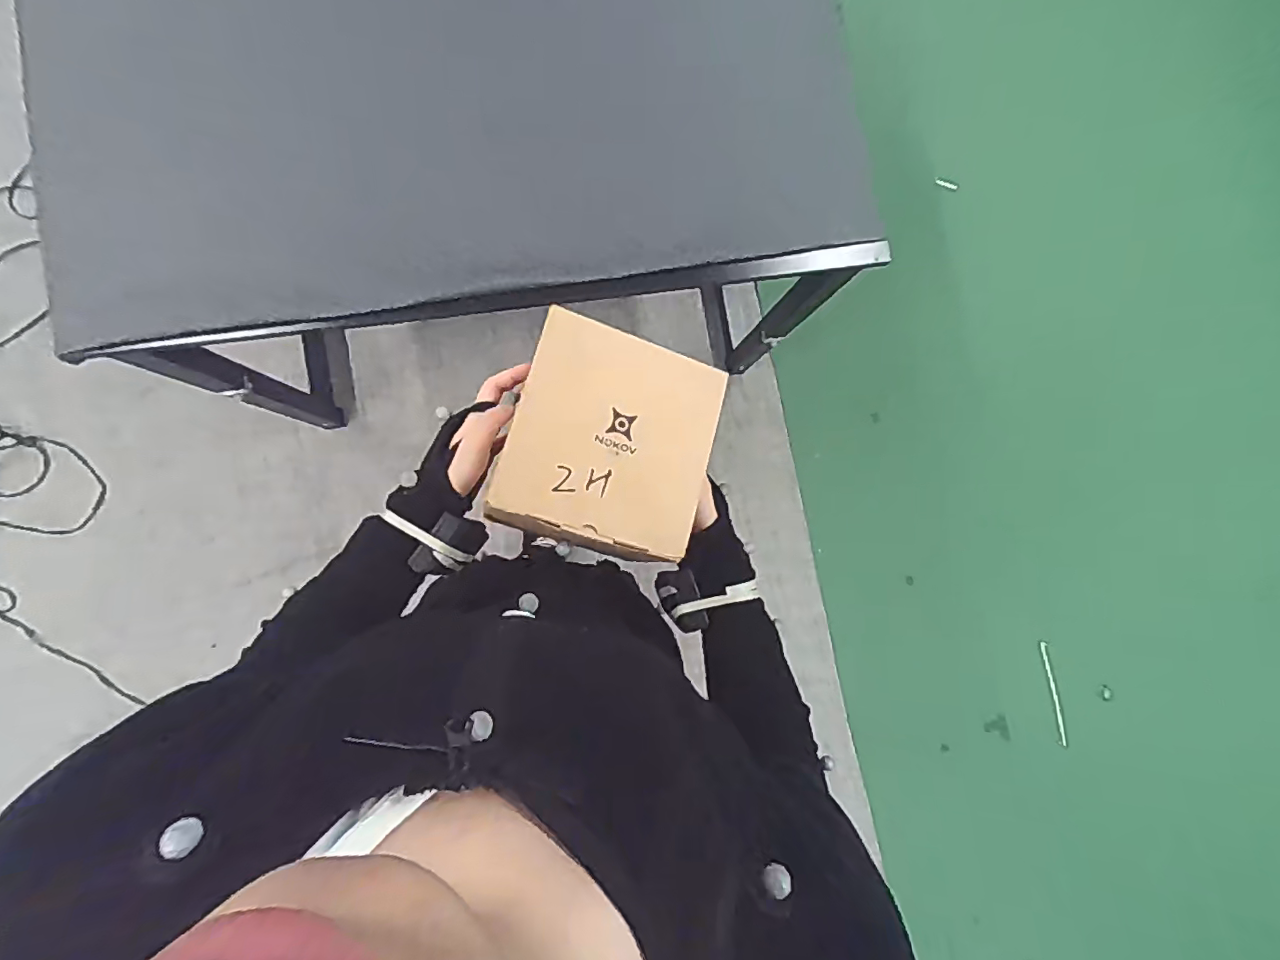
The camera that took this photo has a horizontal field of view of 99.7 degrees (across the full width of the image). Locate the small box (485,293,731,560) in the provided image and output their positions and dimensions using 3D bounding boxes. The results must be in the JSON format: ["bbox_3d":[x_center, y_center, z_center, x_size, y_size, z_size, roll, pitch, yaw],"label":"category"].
[{"bbox_3d":[-0.040,-0.032,0.502,0.168,0.176,0.179,18,76,-12],"label":"small box"}]
